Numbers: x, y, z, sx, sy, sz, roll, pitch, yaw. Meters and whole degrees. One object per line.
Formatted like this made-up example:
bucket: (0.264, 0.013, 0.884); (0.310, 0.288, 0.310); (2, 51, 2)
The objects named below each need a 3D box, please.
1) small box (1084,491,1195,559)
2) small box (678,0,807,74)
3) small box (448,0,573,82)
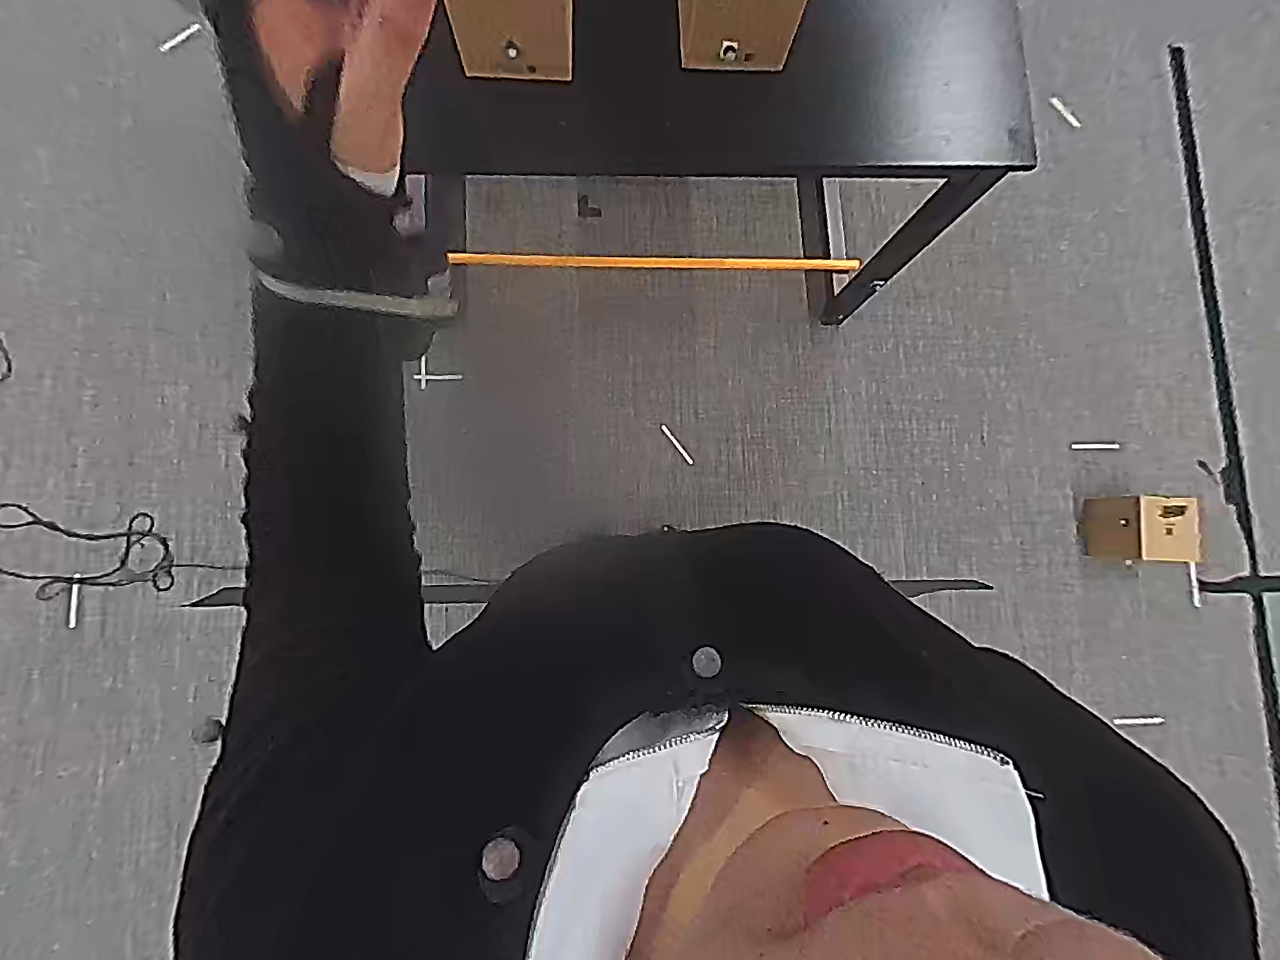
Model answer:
small box: (1.404, 0.129, 1.531); (0.168, 0.176, 0.179); (3, 85, -3)
small box: (0.149, -0.755, 0.804); (0.168, 0.176, 0.179); (-3, 85, -3)
small box: (-0.186, -0.723, 0.776); (0.168, 0.176, 0.179); (0, 84, -4)
